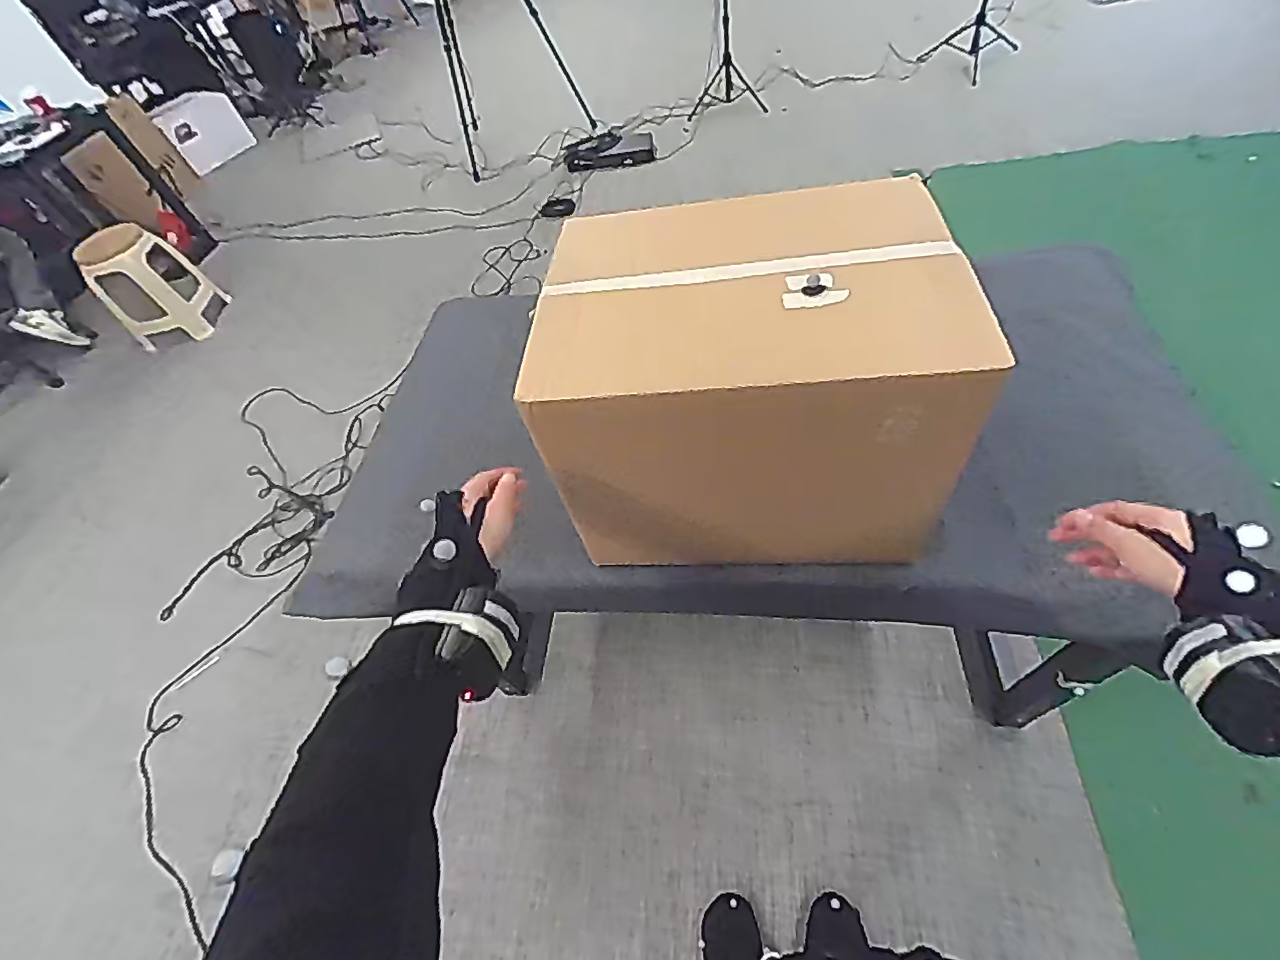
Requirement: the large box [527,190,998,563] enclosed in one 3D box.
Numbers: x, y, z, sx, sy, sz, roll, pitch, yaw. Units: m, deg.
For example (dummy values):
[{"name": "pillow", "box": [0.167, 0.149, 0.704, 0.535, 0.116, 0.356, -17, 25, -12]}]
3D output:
[{"name": "large box", "box": [0.120, -0.107, 0.663, 0.408, 0.320, 0.320, -2, 53, 9]}]
